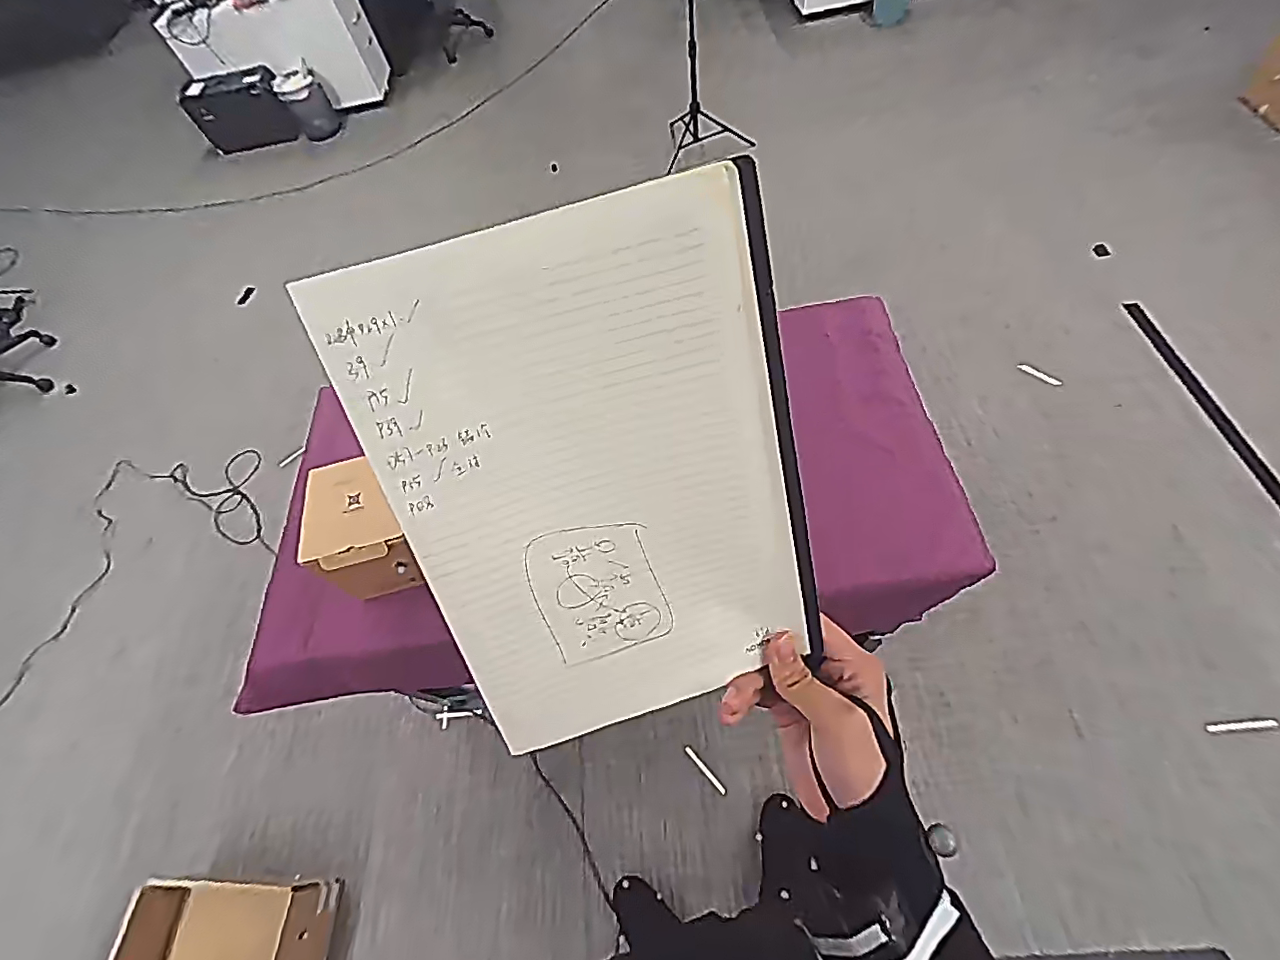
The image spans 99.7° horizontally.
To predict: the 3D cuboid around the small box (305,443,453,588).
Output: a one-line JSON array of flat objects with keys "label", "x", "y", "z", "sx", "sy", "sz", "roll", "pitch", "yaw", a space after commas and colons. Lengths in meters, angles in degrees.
[{"label": "small box", "x": -0.428, "y": 0.070, "z": 0.916, "sx": 0.168, "sy": 0.176, "sz": 0.179, "roll": -14, "pitch": 59, "yaw": 0}]
